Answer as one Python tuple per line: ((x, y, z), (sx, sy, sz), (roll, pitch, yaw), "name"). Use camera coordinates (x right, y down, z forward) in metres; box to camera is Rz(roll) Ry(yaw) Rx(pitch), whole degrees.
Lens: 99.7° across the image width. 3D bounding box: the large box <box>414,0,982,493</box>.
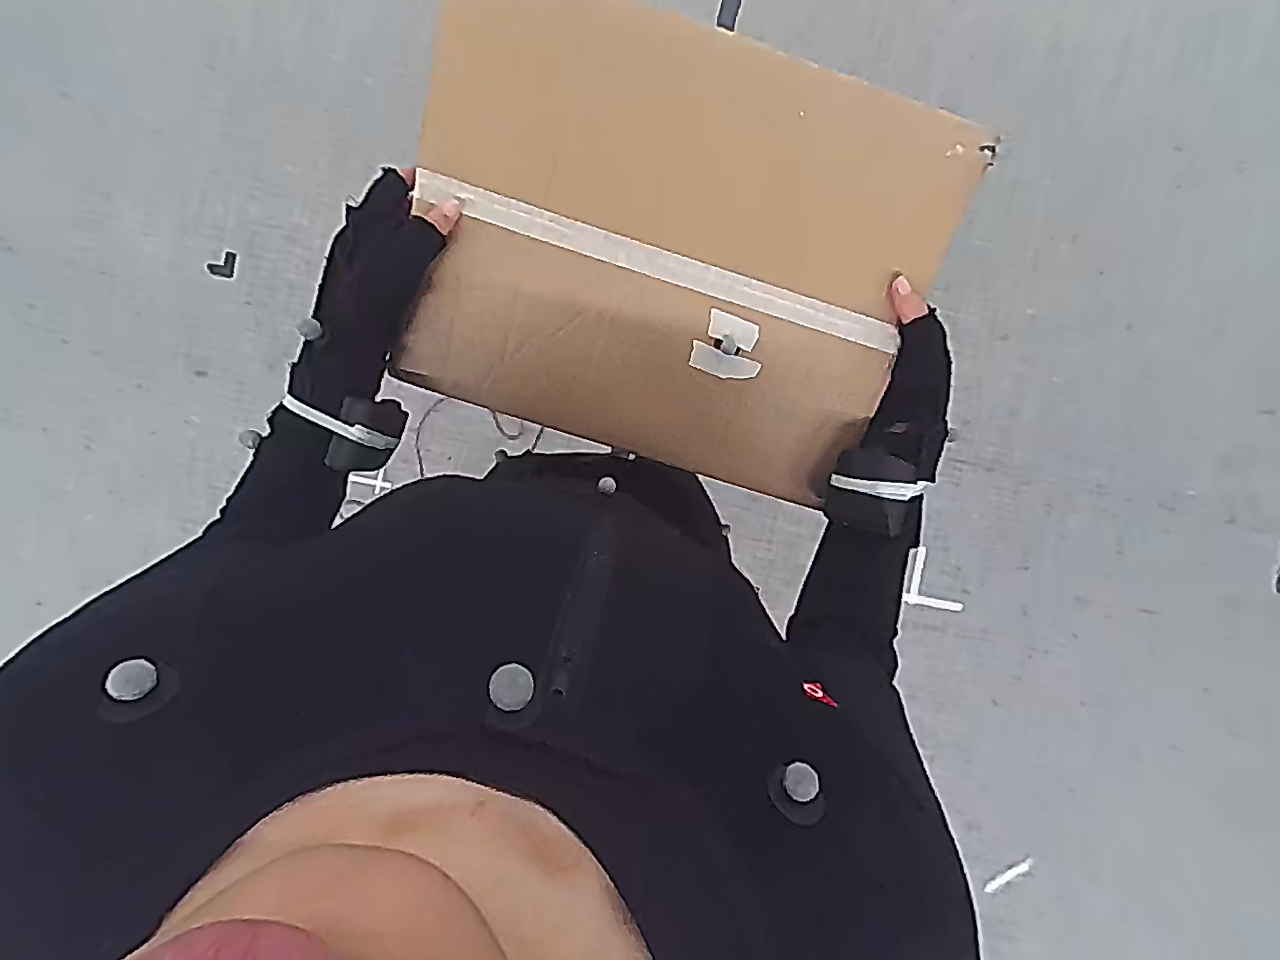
((0.032, -0.227, 0.586), (0.408, 0.320, 0.320), (17, 110, -4), "large box")
